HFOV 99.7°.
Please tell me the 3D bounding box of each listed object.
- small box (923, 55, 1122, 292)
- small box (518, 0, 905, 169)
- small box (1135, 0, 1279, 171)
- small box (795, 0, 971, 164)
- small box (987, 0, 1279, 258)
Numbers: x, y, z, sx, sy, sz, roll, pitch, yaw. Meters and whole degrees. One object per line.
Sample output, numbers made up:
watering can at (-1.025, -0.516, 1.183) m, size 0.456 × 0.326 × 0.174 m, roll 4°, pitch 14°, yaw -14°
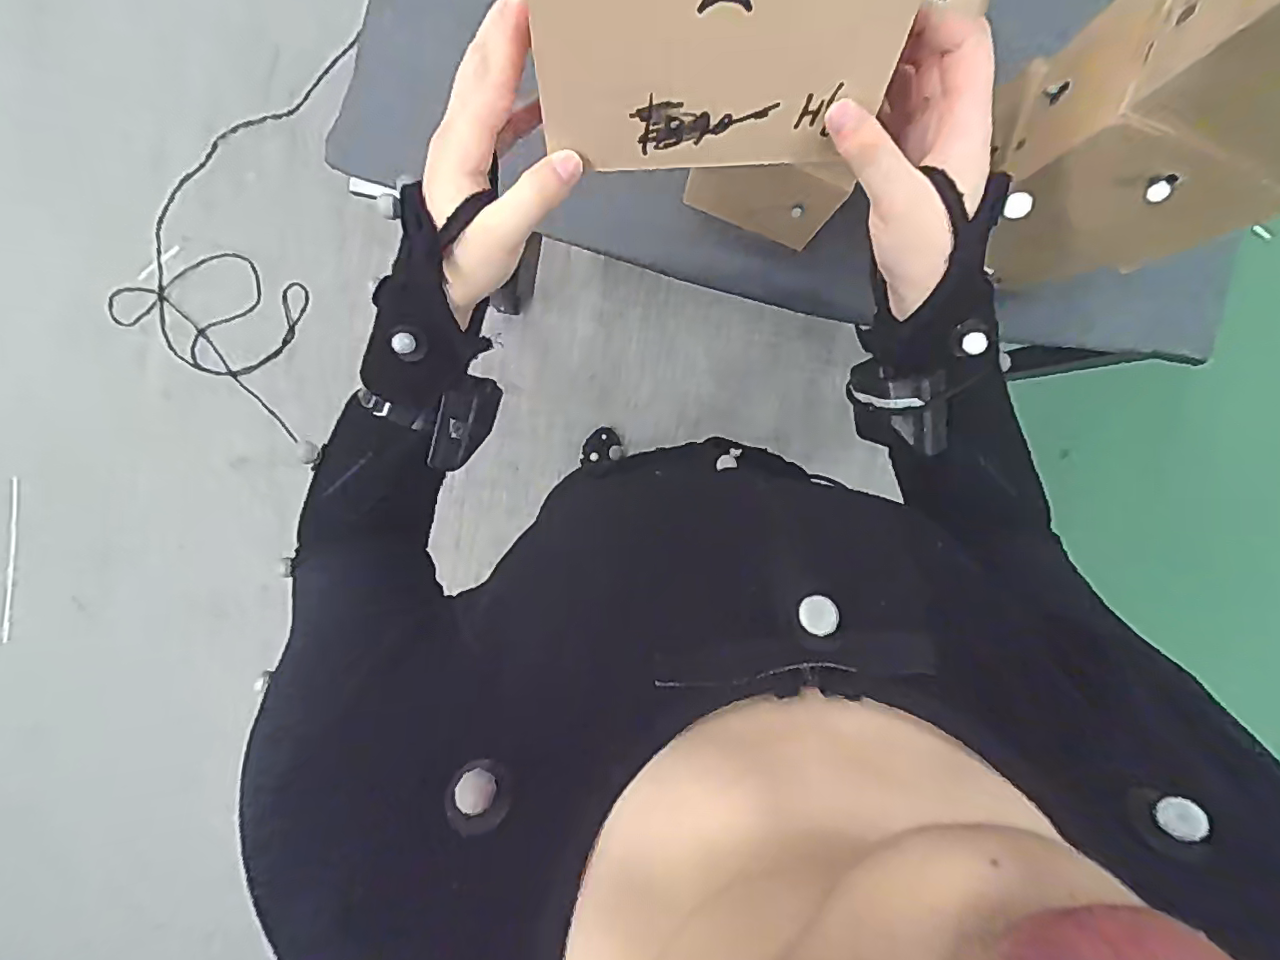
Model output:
small box at (0.475, -0.351, 0.654) m, size 0.168 × 0.176 × 0.179 m, roll 12°, pitch 94°, yaw -1°
small box at (0.023, -0.277, 0.242) m, size 0.168 × 0.179 × 0.176 m, roll -5°, pitch 65°, yaw -3°
small box at (0.480, -0.320, 0.327) m, size 0.179 × 0.176 × 0.168 m, roll 24°, pitch 92°, yaw -1°
small box at (0.167, -0.414, 0.478) m, size 0.179 × 0.176 × 0.168 m, roll 12°, pitch 93°, yaw -2°
small box at (0.474, -0.328, 0.492) m, size 0.179 × 0.176 × 0.168 m, roll 23°, pitch 92°, yaw -1°
